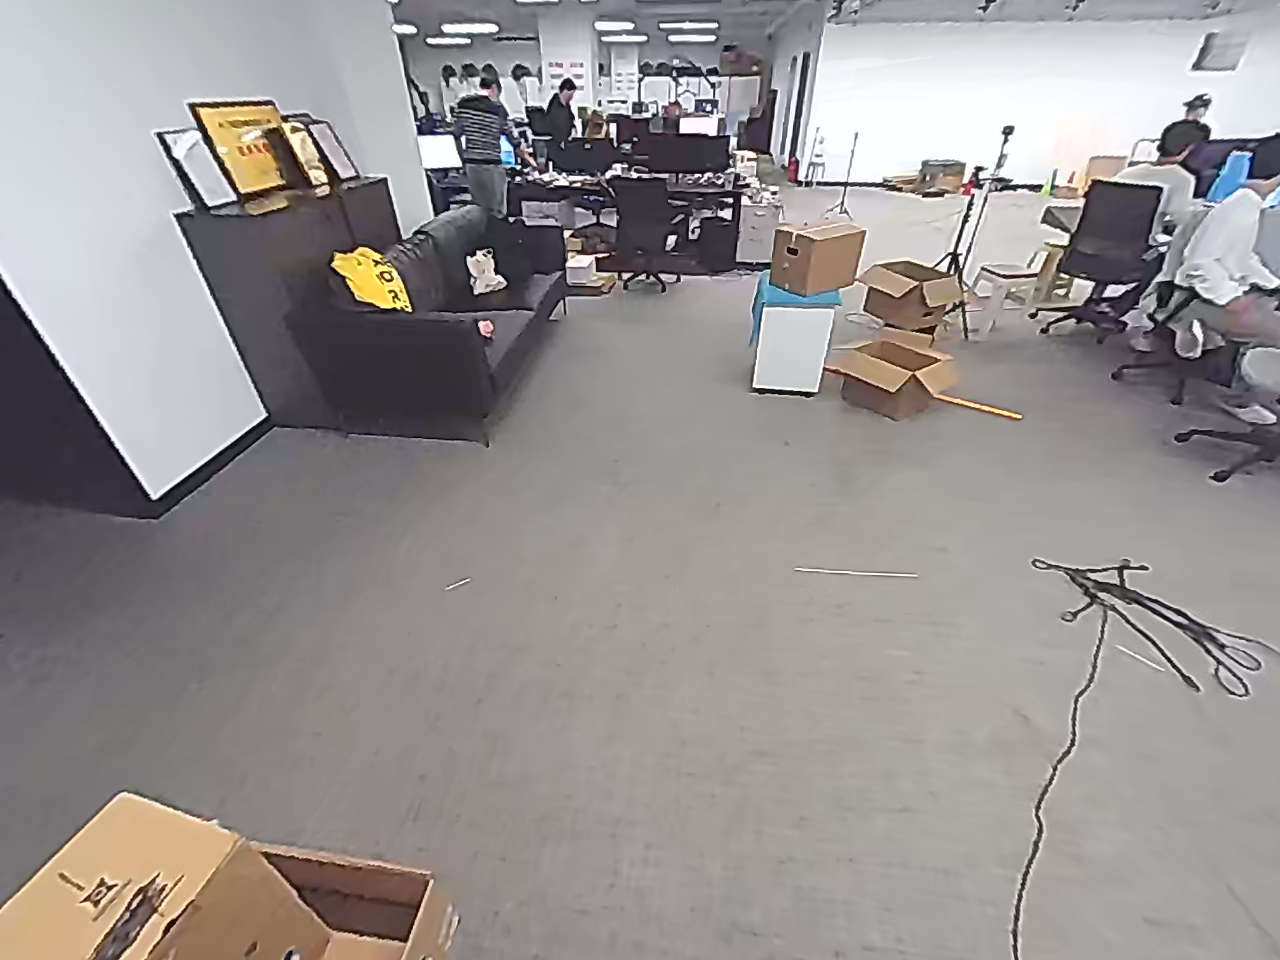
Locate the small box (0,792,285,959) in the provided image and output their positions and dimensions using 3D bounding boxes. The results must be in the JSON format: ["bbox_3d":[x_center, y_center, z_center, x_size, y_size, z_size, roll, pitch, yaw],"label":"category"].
[{"bbox_3d":[-0.527,0.474,0.571,0.179,0.176,0.168,9,35,13],"label":"small box"}]

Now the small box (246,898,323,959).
[{"bbox_3d":[-0.533,0.611,0.661,0.179,0.176,0.168,8,35,11],"label":"small box"}]
